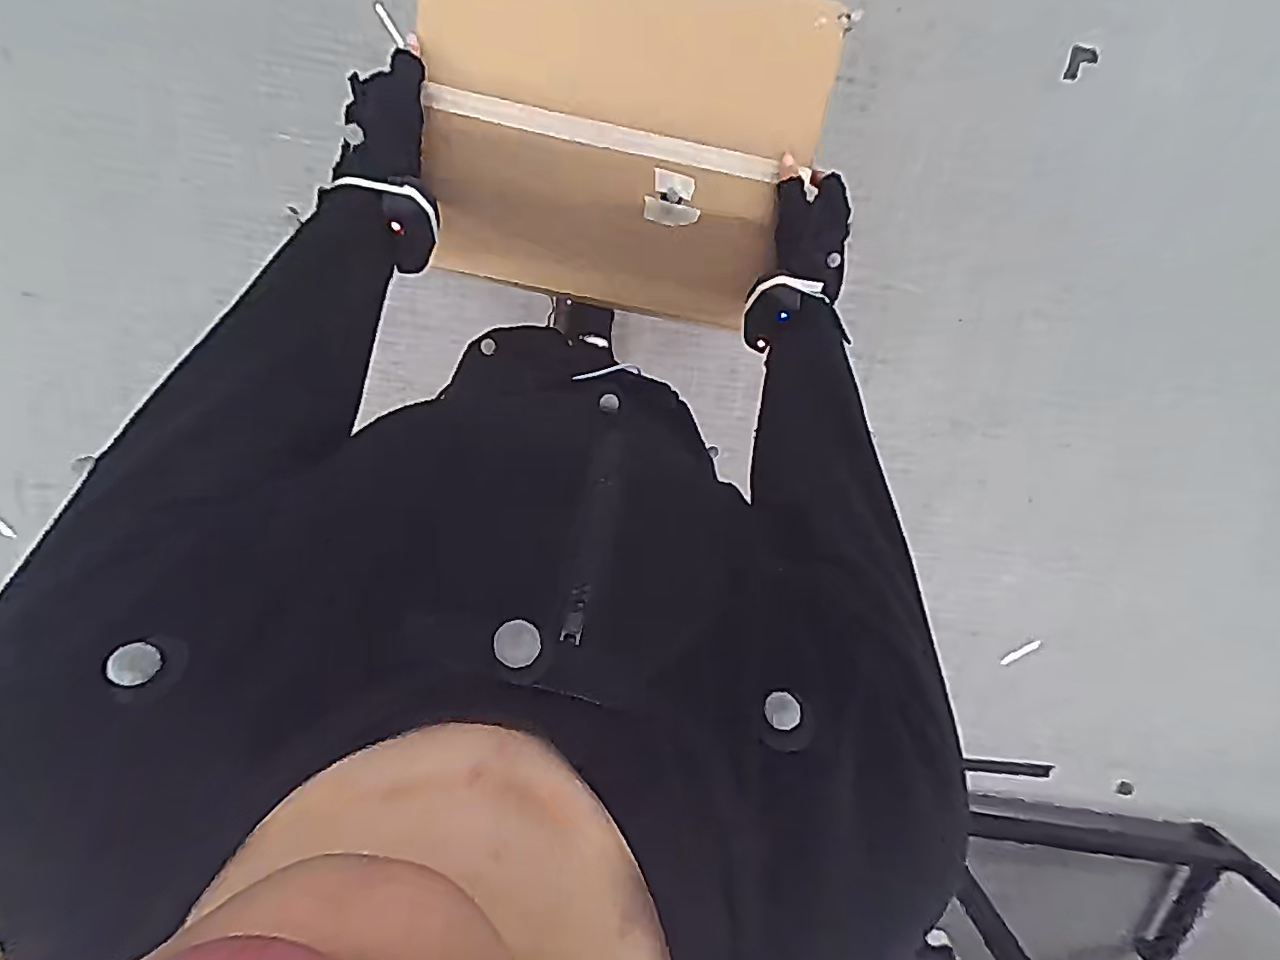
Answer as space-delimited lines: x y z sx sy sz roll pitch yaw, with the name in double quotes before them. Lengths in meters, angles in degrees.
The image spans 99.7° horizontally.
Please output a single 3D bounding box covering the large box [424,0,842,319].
"large box" -0.025 -0.401 0.705 0.408 0.320 0.320 9 107 -6
